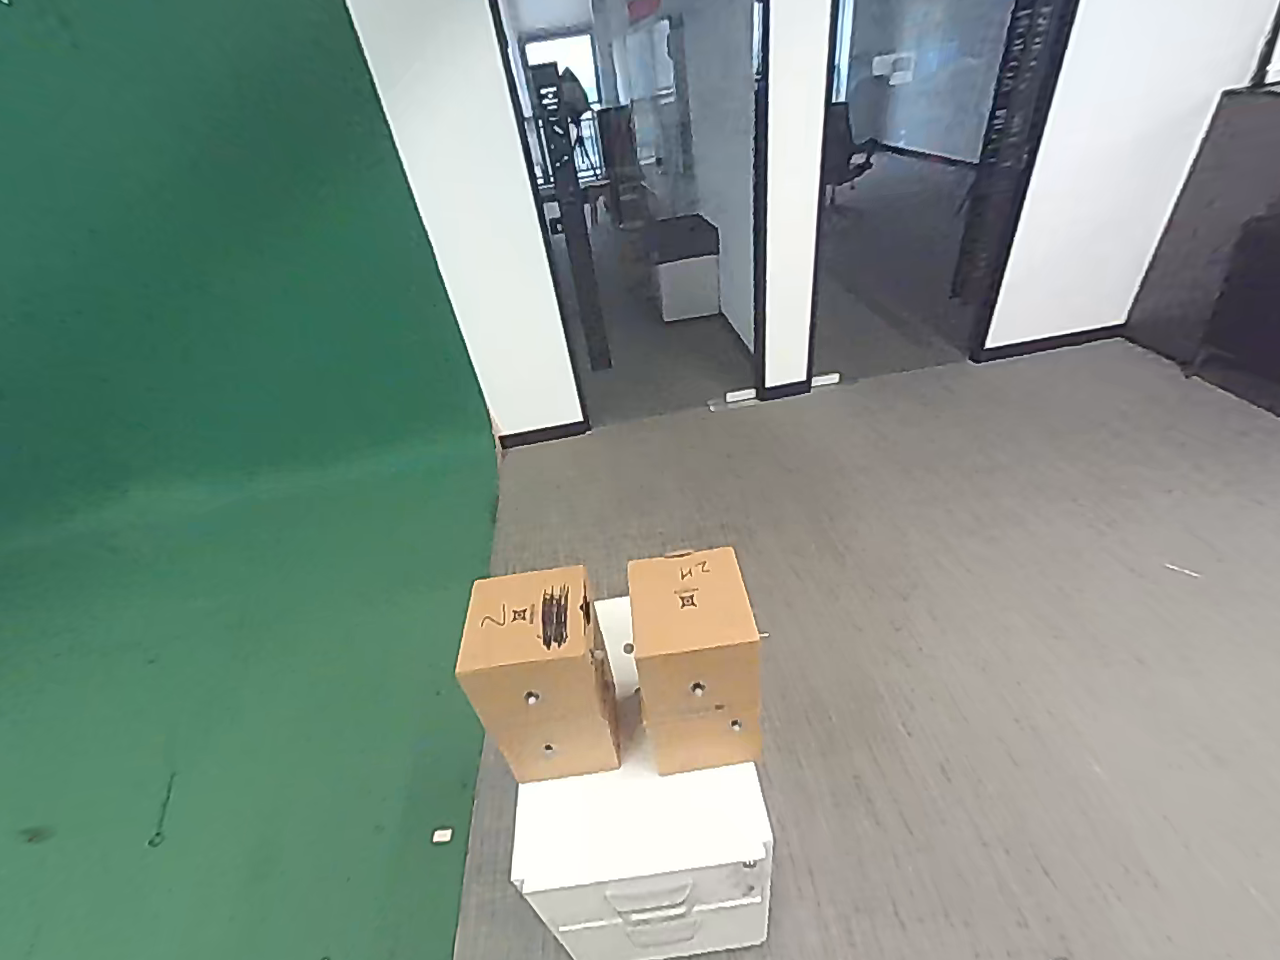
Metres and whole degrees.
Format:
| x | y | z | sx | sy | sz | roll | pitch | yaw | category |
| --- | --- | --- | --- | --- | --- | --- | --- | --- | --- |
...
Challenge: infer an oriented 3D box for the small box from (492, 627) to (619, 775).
| x | y | z | sx | sy | sz | roll | pitch | yaw | category |
| --- | --- | --- | --- | --- | --- | --- | --- | --- | --- |
| -0.136 | 0.380 | 0.924 | 0.179 | 0.176 | 0.168 | -8 | 38 | -1 | small box |

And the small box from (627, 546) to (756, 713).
| x | y | z | sx | sy | sz | roll | pitch | yaw | category |
| --- | --- | --- | --- | --- | --- | --- | --- | --- | --- |
| 0.075 | 0.227 | 0.808 | 0.168 | 0.176 | 0.179 | -8 | 37 | 1 | small box |
